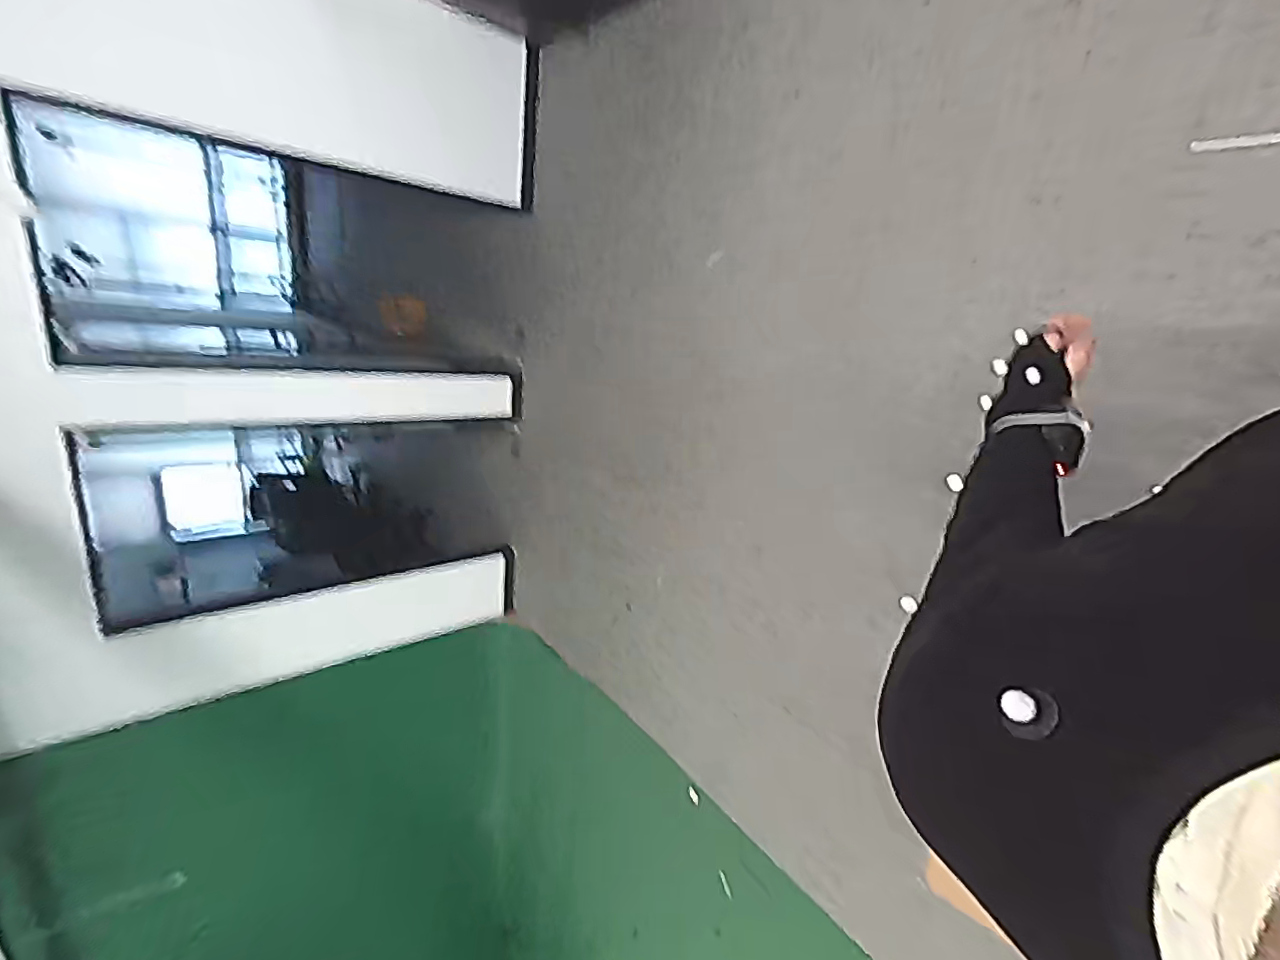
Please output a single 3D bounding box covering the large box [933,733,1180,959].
[{"bbox_3d":[1.003,0.904,1.322,0.408,0.320,0.320,12,105,50],"label":"large box"}]
